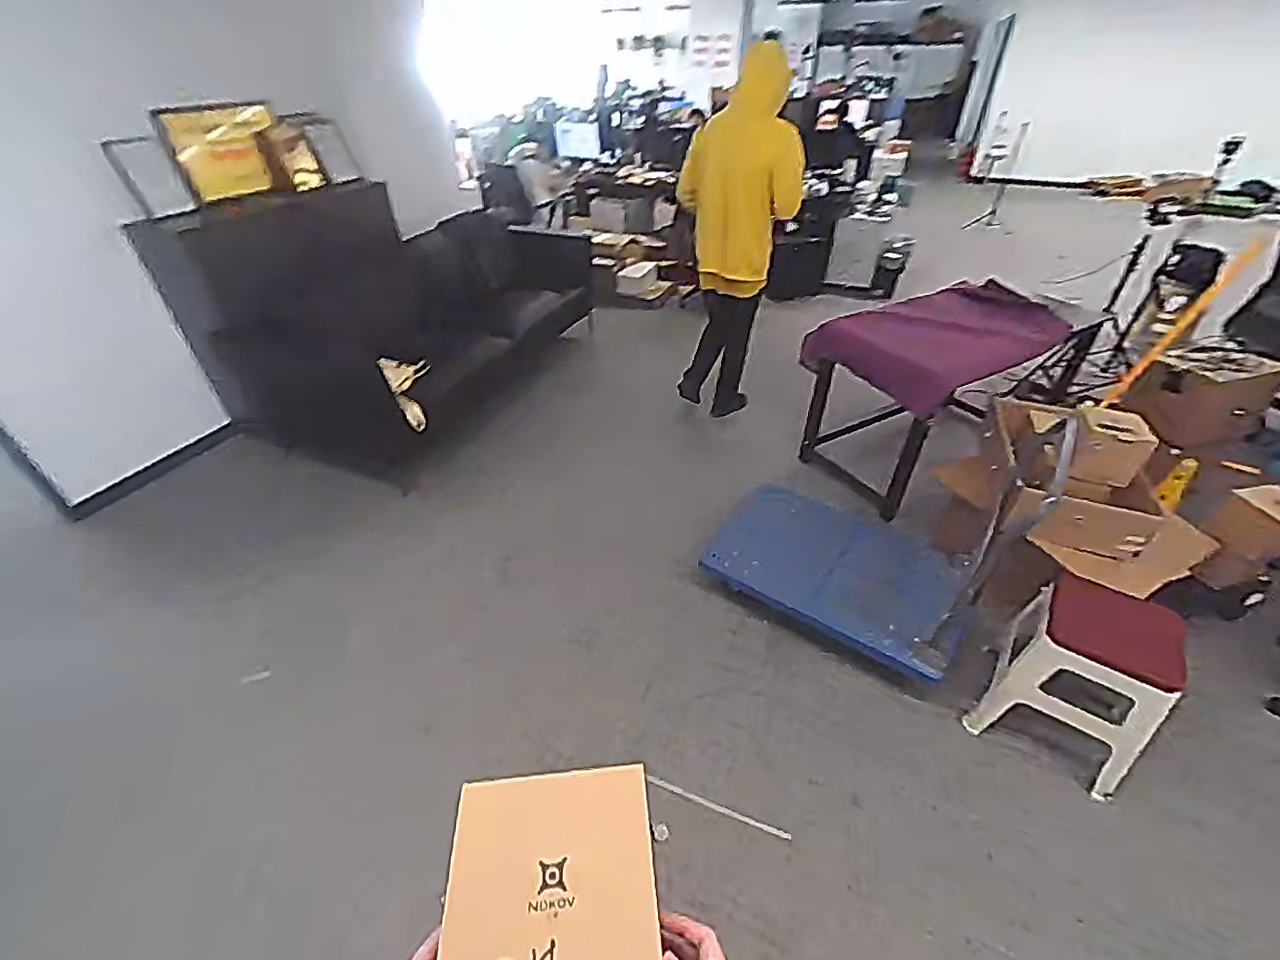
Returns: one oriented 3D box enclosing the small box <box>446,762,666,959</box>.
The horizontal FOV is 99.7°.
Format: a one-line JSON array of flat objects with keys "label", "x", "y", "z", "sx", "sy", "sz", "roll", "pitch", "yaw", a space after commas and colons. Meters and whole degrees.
[{"label": "small box", "x": -0.064, "y": 0.385, "z": 0.489, "sx": 0.168, "sy": 0.176, "sz": 0.179, "roll": -4, "pitch": 40, "yaw": -2}]
